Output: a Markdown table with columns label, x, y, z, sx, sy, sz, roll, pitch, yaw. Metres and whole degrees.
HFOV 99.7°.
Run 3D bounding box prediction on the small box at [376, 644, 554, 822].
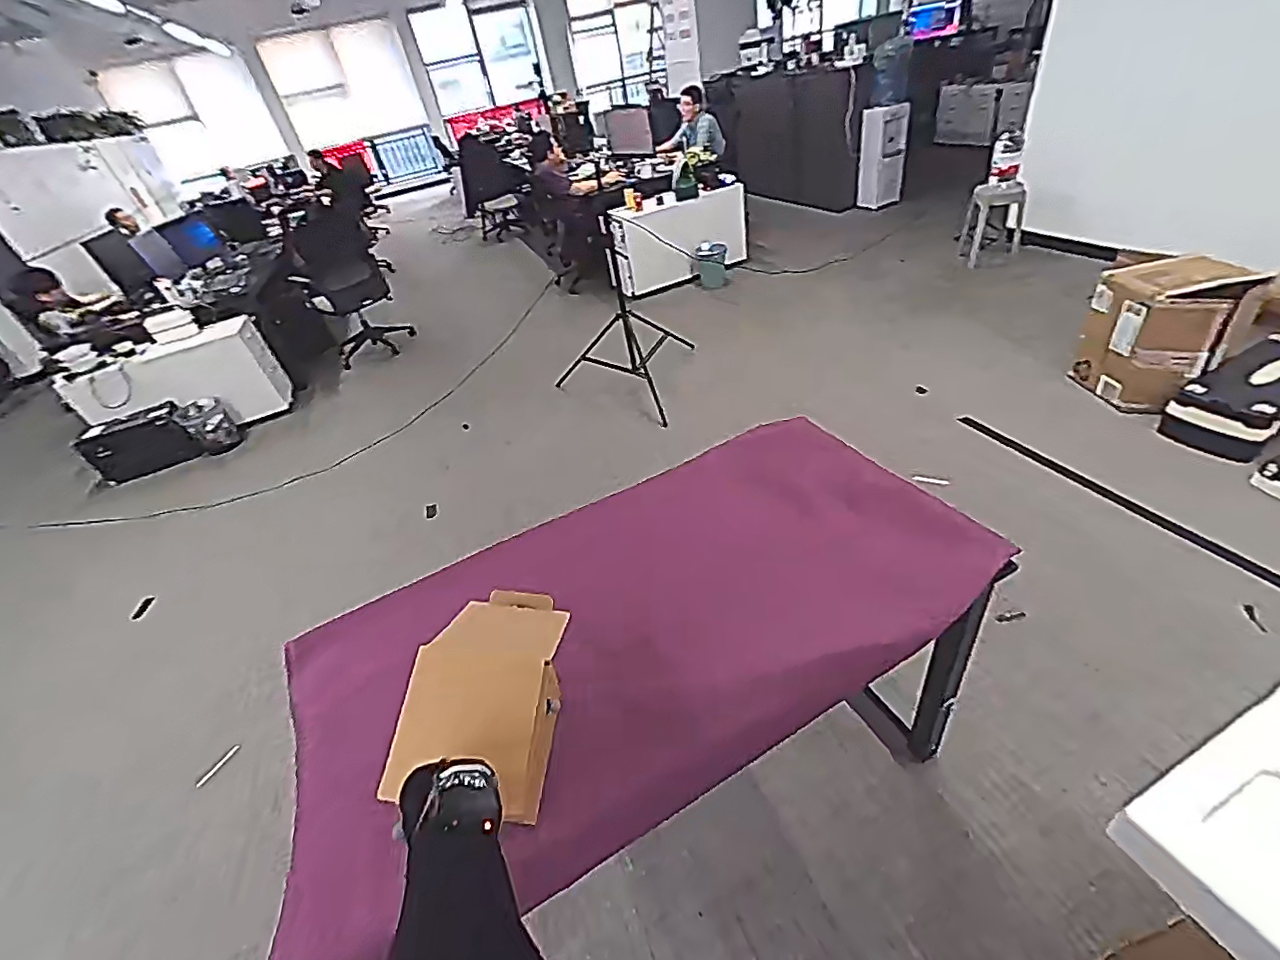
| label | x | y | z | sx | sy | sz | roll | pitch | yaw |
| --- | --- | --- | --- | --- | --- | --- | --- | --- | --- |
| small box | -0.214 | 0.340 | 0.722 | 0.168 | 0.176 | 0.179 | 7 | 56 | 2 |
